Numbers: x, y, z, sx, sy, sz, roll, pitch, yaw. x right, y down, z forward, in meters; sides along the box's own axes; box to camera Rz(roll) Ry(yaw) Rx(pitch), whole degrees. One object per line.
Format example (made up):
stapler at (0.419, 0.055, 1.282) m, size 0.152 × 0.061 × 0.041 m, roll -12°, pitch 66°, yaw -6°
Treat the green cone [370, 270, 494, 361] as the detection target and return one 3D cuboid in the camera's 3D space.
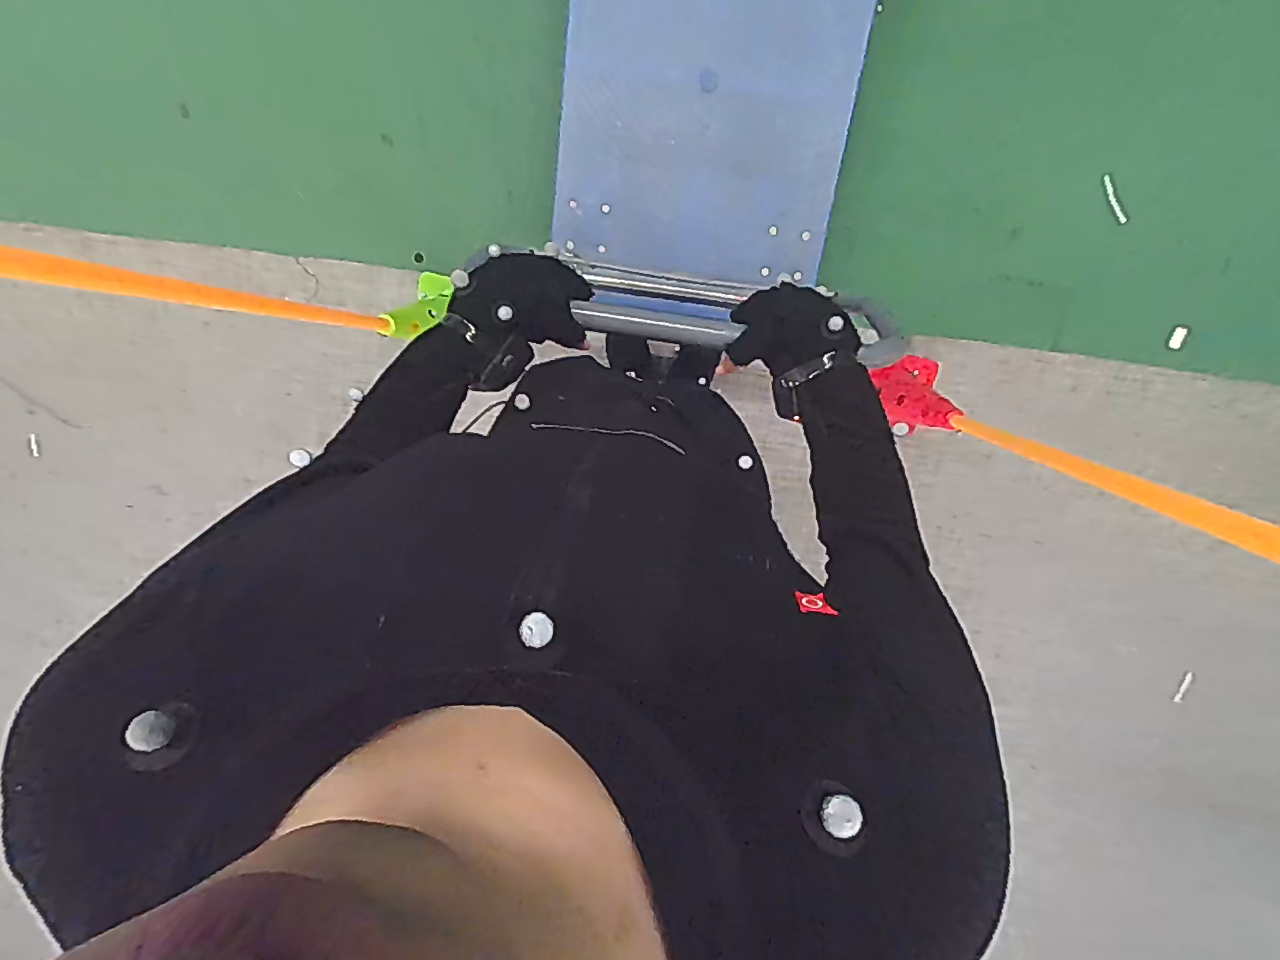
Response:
green cone at (-0.496, -0.374, 1.238) m, size 0.202 × 0.368 × 0.200 m, roll 12°, pitch 108°, yaw 1°
